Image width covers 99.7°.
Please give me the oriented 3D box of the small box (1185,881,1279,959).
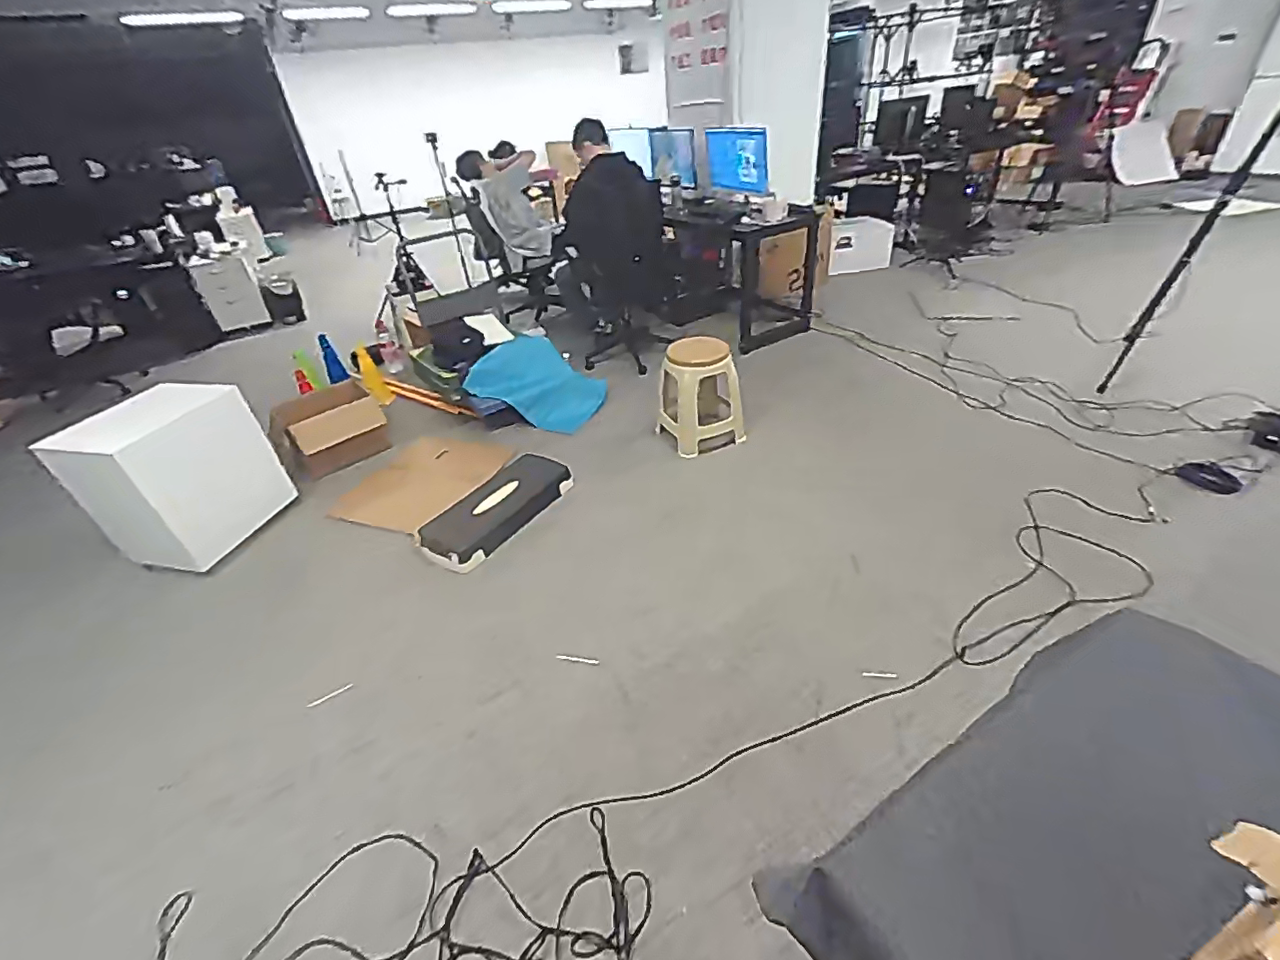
[{"bbox_3d":[0.545,0.384,0.371,0.168,0.176,0.179,-26,38,-12],"label":"small box"}]
